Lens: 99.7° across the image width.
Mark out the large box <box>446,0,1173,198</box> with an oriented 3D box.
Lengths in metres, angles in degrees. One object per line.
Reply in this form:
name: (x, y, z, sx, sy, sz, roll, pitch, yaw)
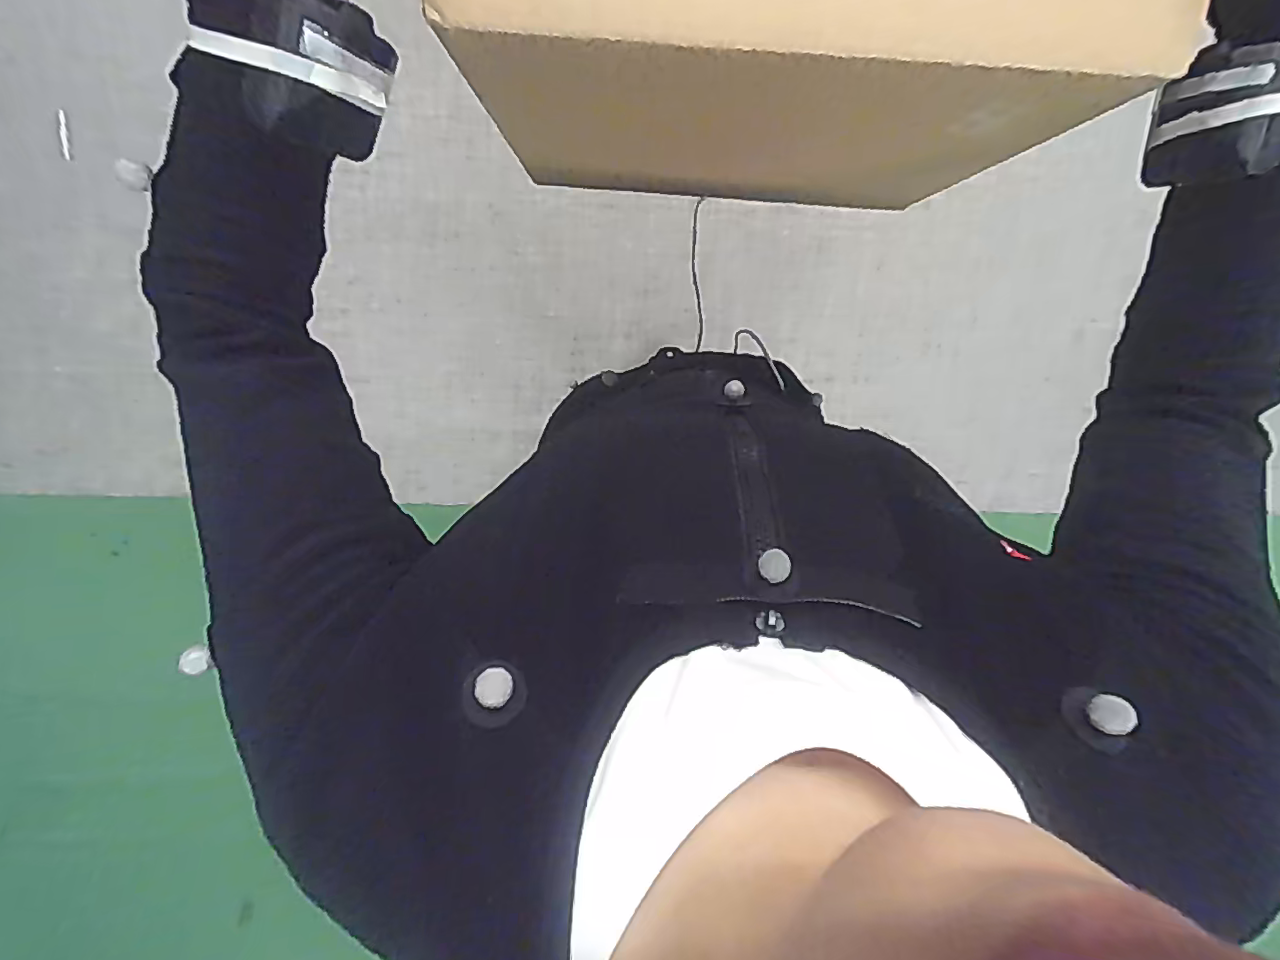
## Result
large box: (0.093, -0.421, 0.404, 0.408, 0.320, 0.320, 2, 105, -1)
